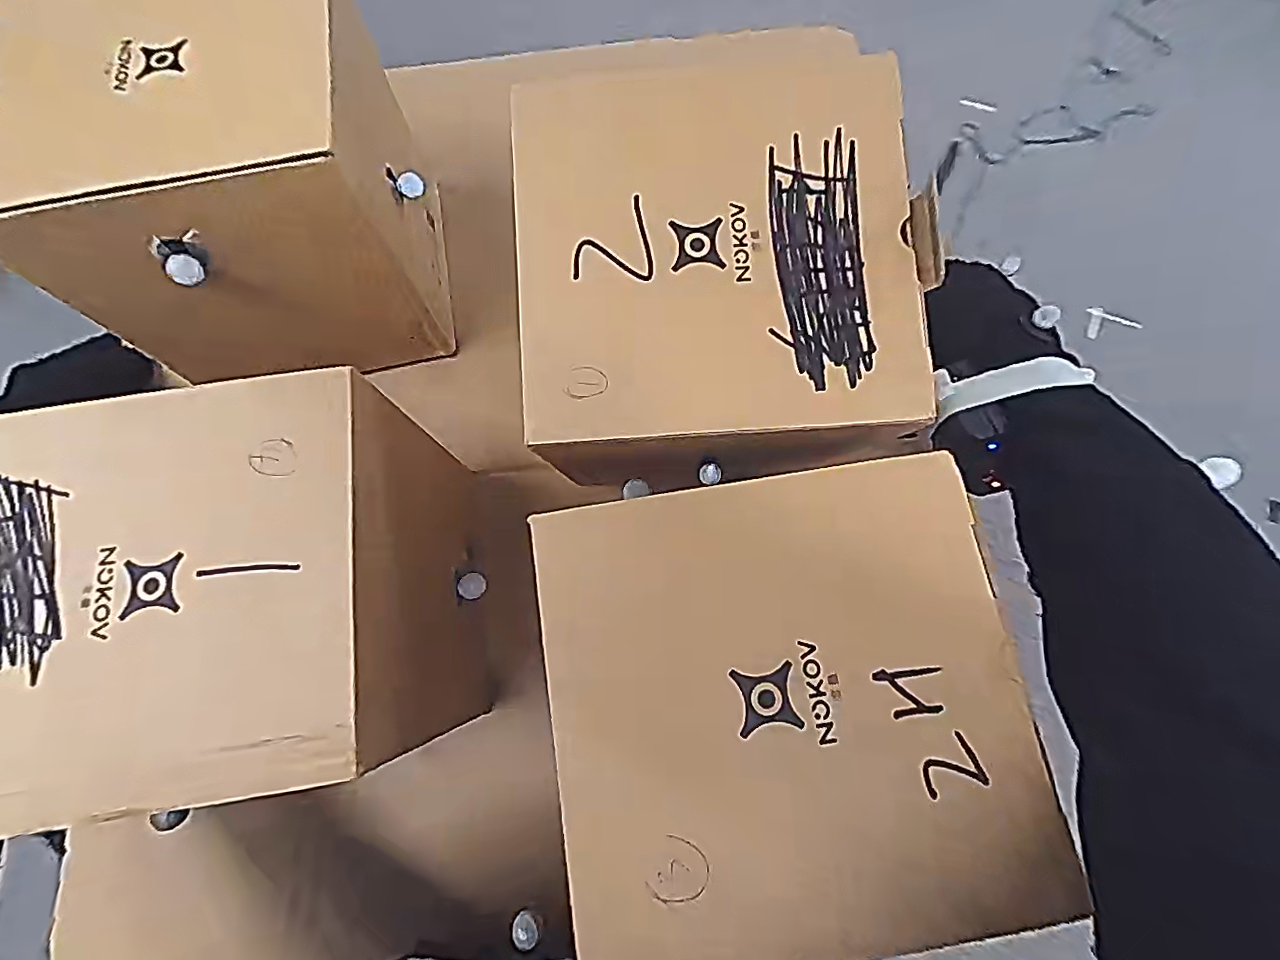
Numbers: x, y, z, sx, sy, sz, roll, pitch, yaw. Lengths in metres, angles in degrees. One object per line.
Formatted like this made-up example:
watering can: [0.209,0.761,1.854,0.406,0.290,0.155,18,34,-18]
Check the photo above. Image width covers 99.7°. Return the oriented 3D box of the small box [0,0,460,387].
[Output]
small box: [-0.228,-0.181,0.350,0.179,0.176,0.168,-11,71,-1]
